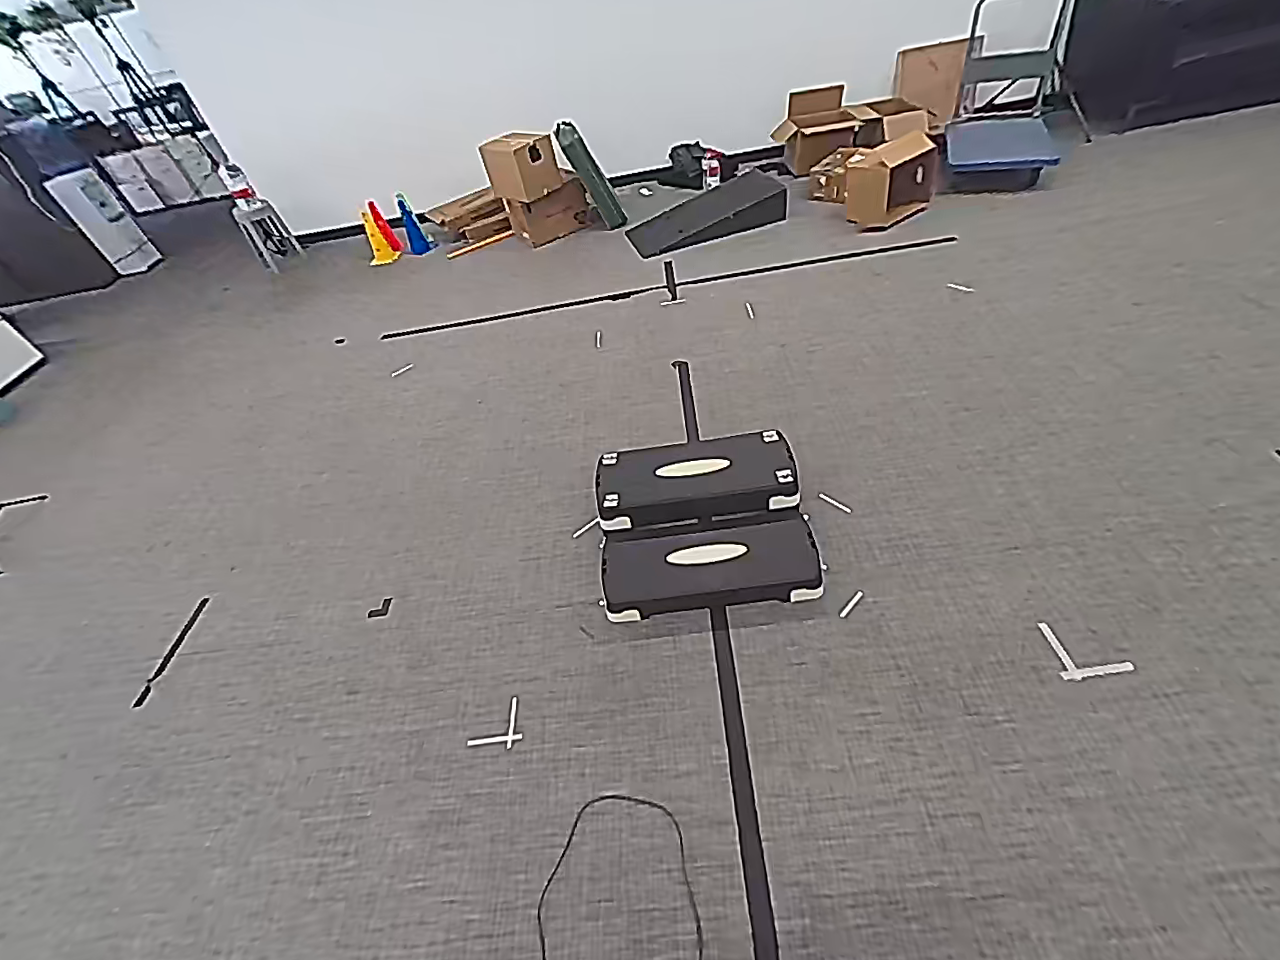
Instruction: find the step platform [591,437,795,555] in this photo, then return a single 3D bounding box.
[{"bbox_3d":[0.173,0.050,1.851,0.684,0.204,0.286,-8,46,3],"label":"step platform"}]
